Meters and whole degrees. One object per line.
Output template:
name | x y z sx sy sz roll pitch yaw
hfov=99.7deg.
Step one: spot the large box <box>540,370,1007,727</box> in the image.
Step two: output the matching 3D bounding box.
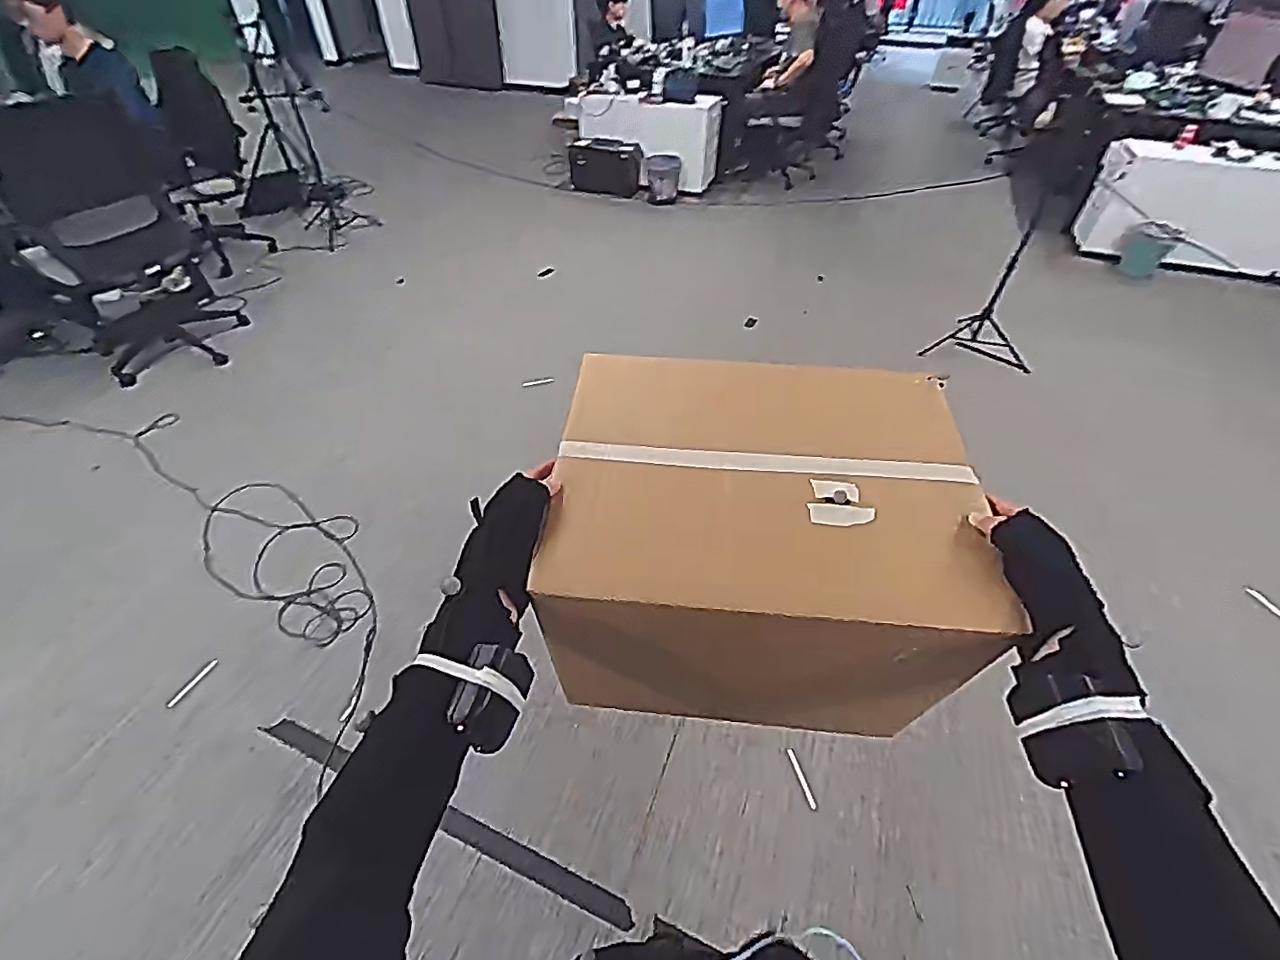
large box | 0.119 0.089 0.664 0.408 0.320 0.320 4 52 3
